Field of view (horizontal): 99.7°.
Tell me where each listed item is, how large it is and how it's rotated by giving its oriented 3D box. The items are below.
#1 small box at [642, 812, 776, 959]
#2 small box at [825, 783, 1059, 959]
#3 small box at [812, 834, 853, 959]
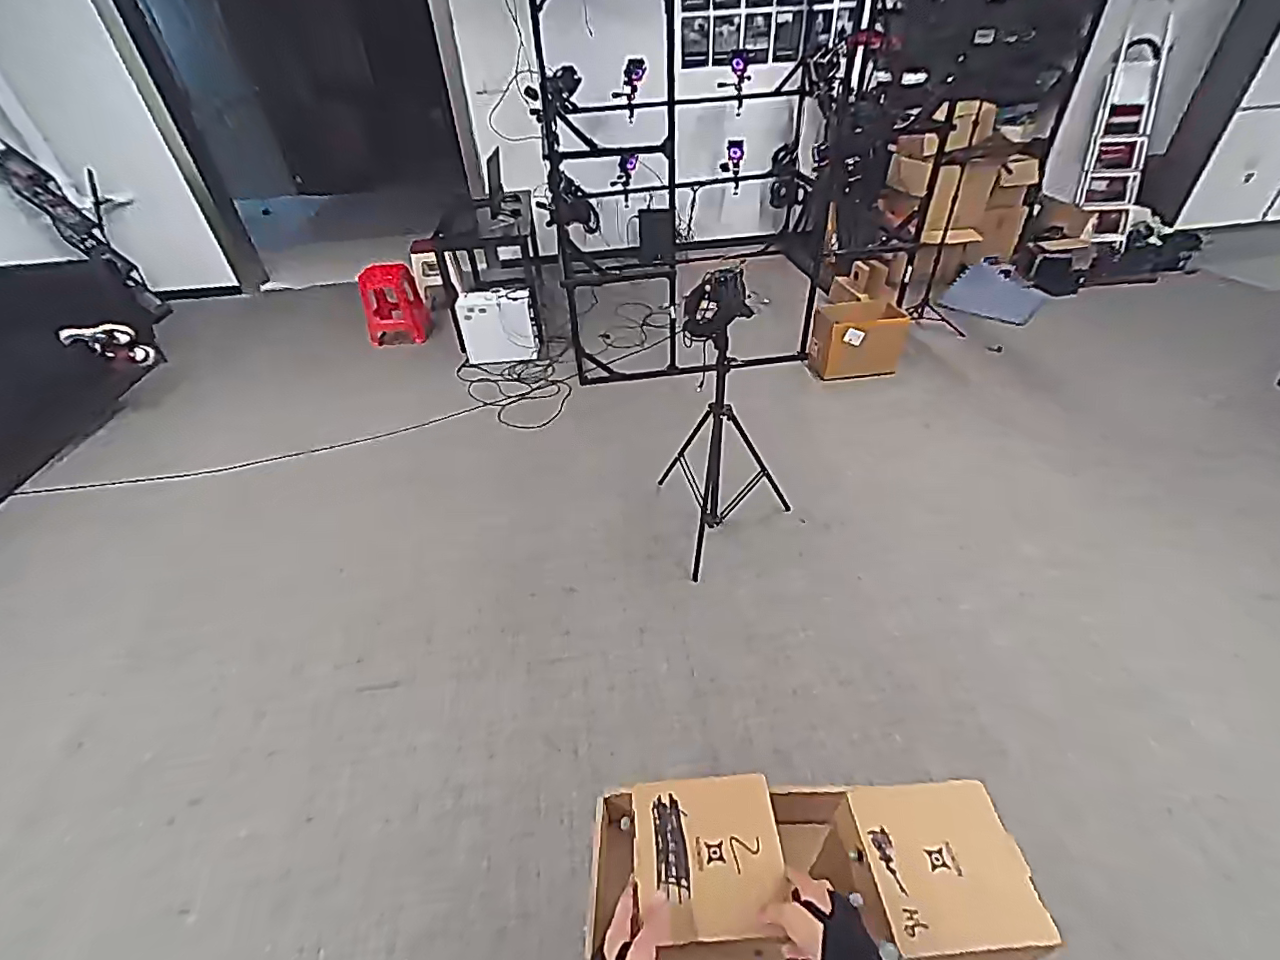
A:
[{"bbox_3d":[0.092,0.624,0.797,0.168,0.176,0.179,-6,39,-1],"label":"small box"},{"bbox_3d":[0.352,0.502,0.673,0.179,0.176,0.168,-3,38,-1],"label":"small box"},{"bbox_3d":[0.357,0.631,0.773,0.168,0.176,0.179,-3,38,1],"label":"small box"}]
